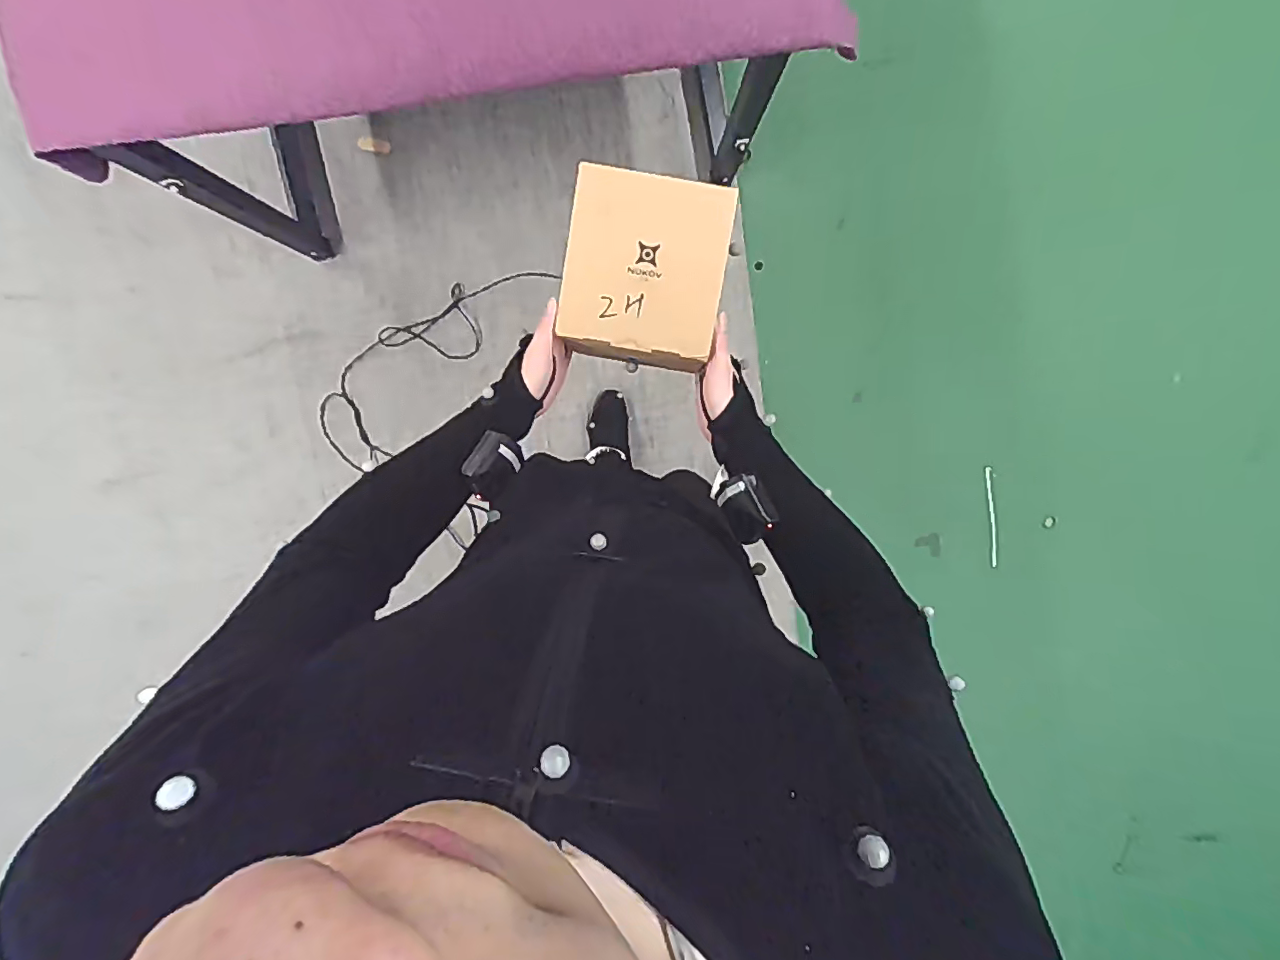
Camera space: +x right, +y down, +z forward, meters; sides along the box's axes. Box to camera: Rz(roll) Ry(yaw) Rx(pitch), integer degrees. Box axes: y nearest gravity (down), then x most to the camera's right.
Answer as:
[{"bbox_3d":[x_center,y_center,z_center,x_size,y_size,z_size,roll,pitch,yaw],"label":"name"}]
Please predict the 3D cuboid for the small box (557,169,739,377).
[{"bbox_3d":[0.006,-0.227,0.639,0.168,0.176,0.179,10,97,-1],"label":"small box"}]
